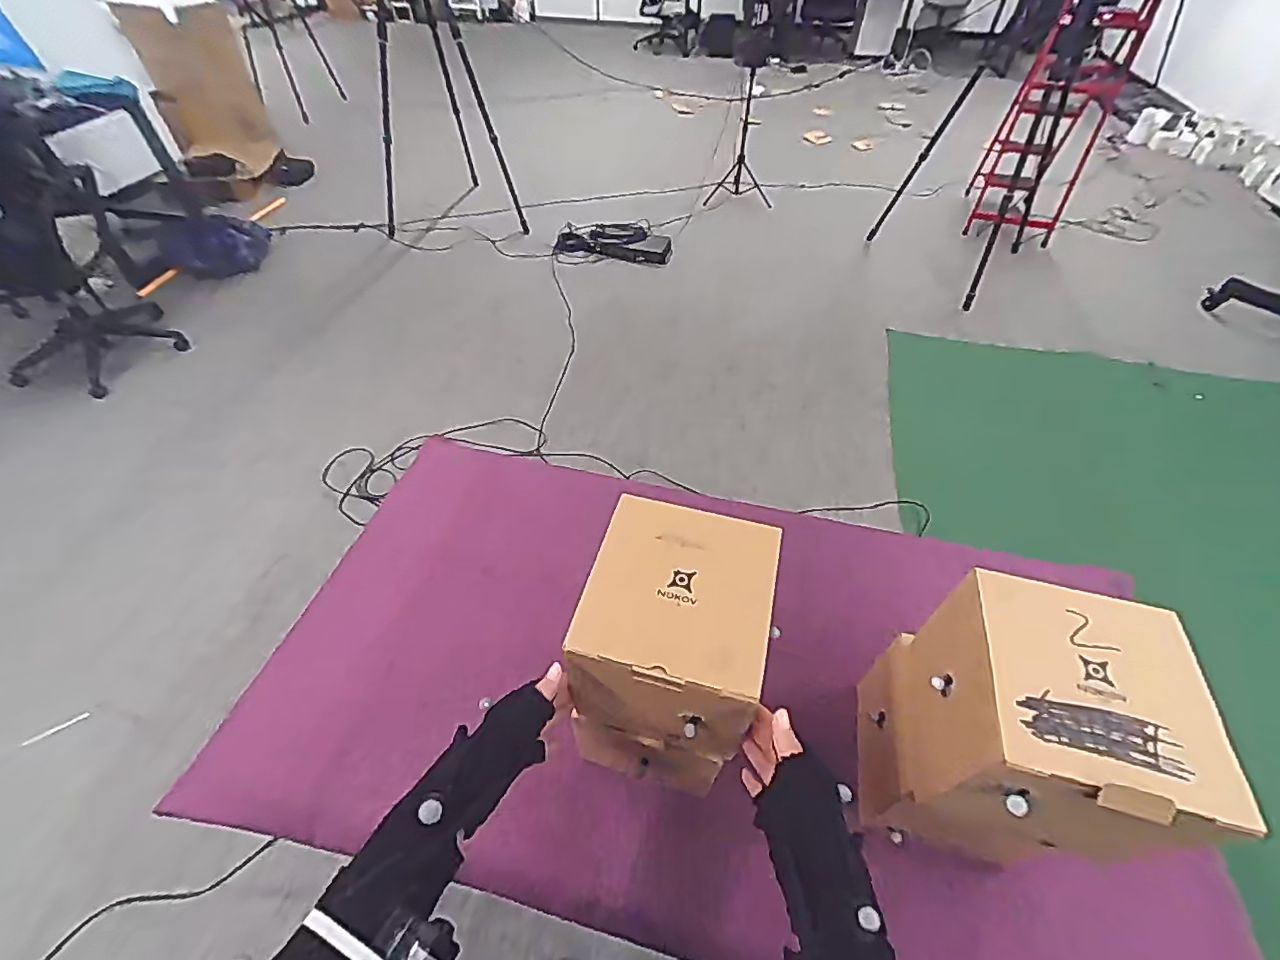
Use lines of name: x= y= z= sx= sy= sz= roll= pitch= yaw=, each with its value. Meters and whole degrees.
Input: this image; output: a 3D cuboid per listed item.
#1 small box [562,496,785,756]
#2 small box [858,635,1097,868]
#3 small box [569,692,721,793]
small box: x=0.037 y=0.148 z=0.540 sx=0.168 sy=0.176 sz=0.179 roll=13 pitch=50 yaw=10
small box: x=0.361 y=0.312 z=0.617 sx=0.168 sy=0.176 sz=0.179 roll=15 pitch=51 yaw=10
small box: x=0.027 y=0.256 z=0.663 sx=0.168 sy=0.176 sz=0.179 roll=14 pitch=51 yaw=10
